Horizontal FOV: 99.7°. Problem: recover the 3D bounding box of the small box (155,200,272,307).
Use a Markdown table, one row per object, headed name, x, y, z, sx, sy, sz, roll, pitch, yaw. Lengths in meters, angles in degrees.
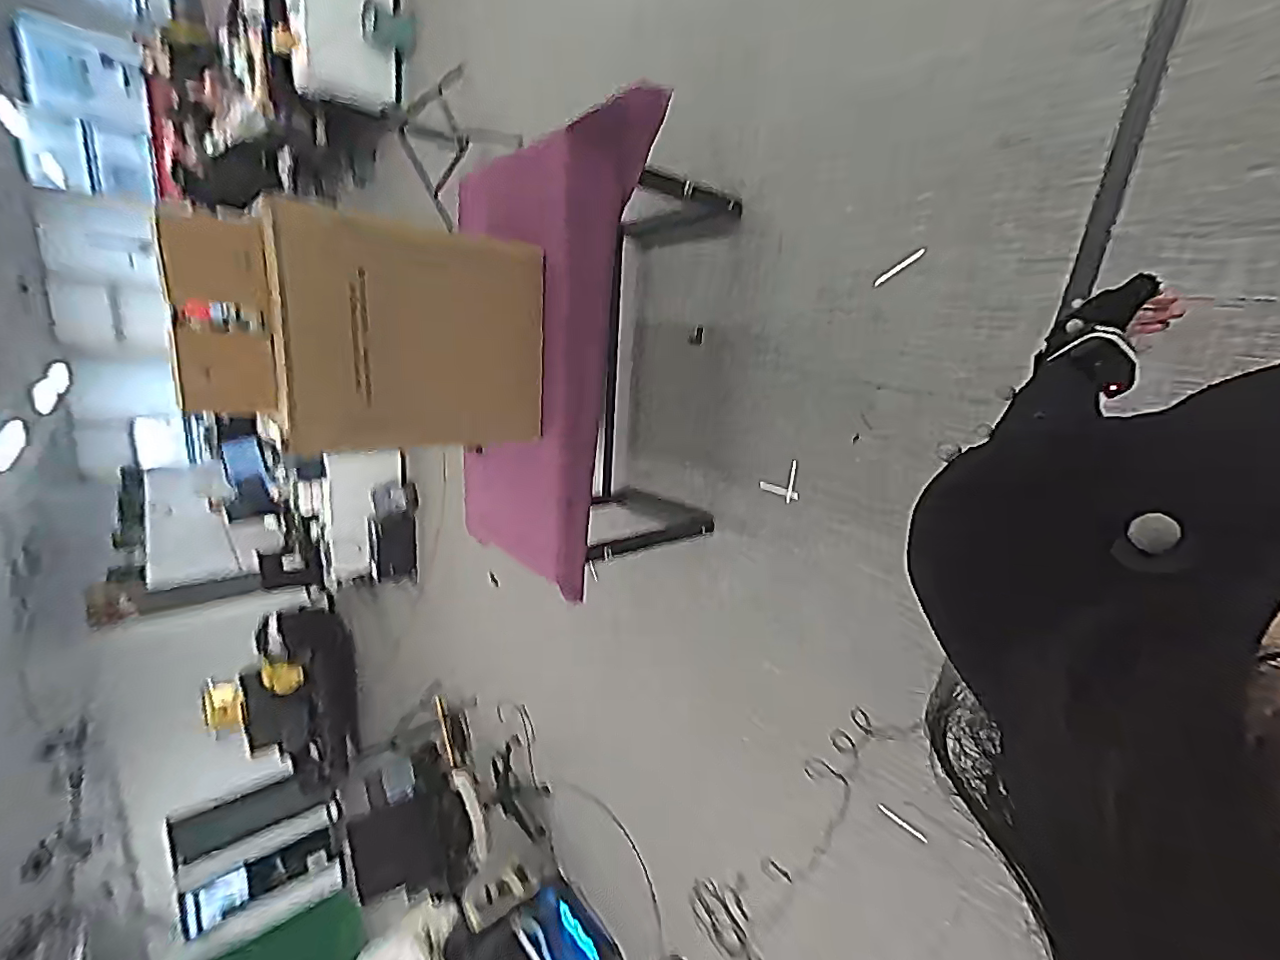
| name | x | y | z | sx | sy | sz | roll | pitch | yaw |
| --- | --- | --- | --- | --- | --- | --- | --- | --- | --- |
| small box | -0.891 | -0.465 | 1.133 | 0.168 | 0.176 | 0.179 | 19 | 111 | 45 |
